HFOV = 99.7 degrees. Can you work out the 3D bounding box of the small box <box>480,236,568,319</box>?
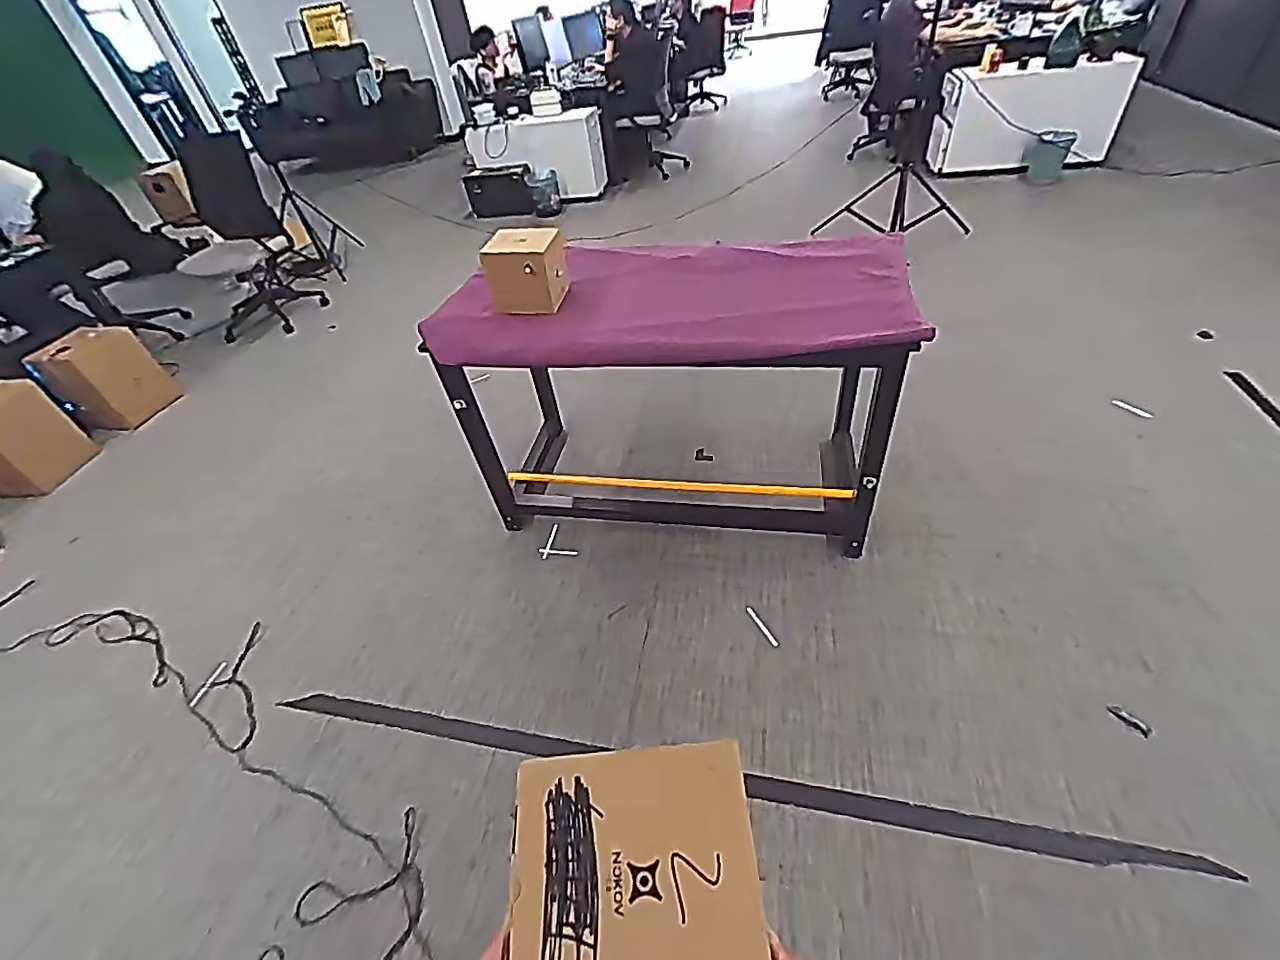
[{"bbox_3d":[-0.307,-0.551,1.478,0.179,0.176,0.168,3,43,9],"label":"small box"}]
